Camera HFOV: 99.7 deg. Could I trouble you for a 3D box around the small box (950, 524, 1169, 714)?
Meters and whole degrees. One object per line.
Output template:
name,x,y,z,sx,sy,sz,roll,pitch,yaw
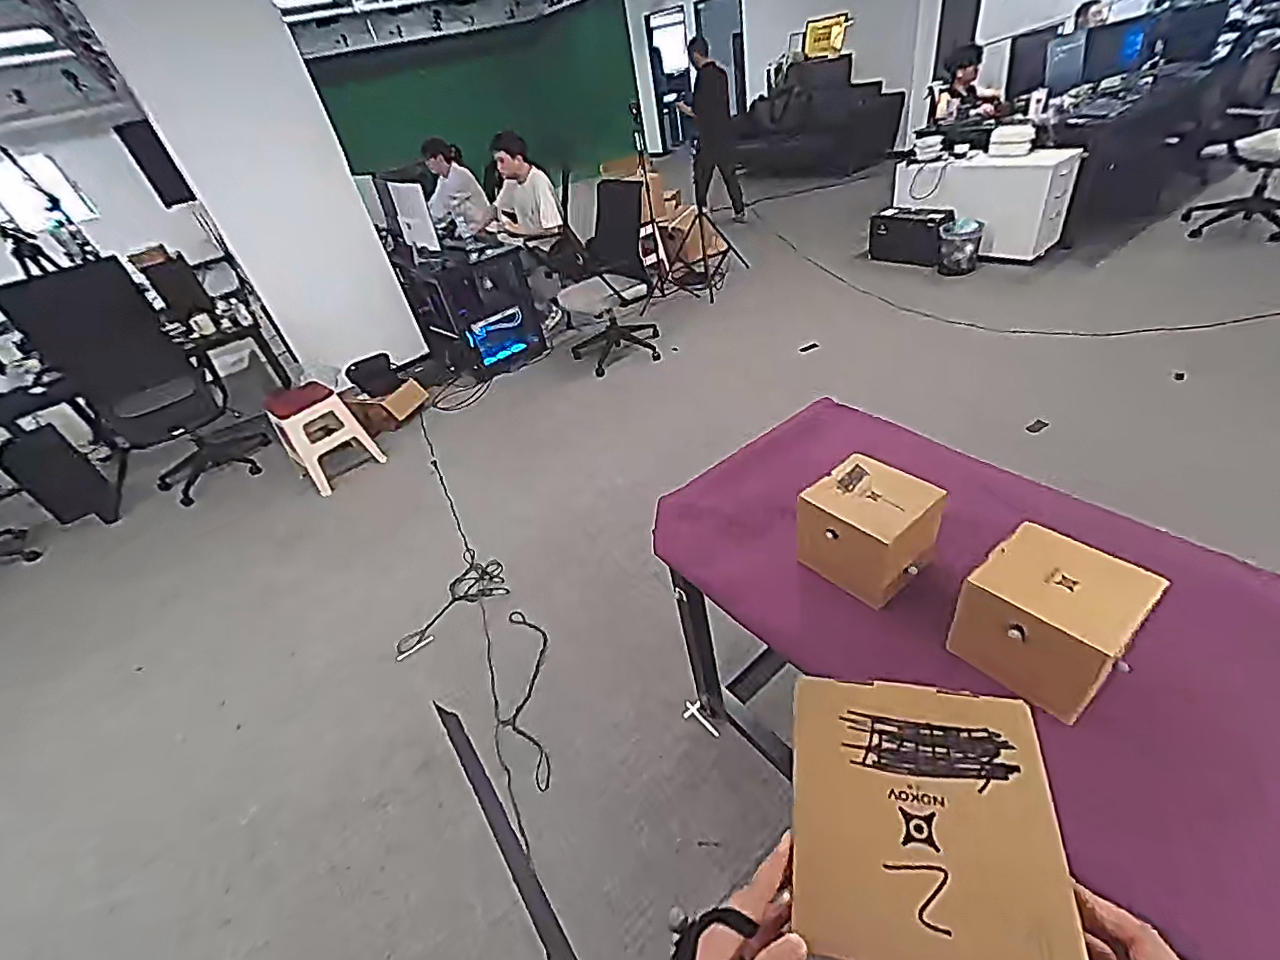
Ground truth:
small box,0.583,0.202,0.774,0.168,0.176,0.179,-31,41,-24

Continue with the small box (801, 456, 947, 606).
small box,0.408,0.090,0.968,0.168,0.176,0.179,-32,42,-23
